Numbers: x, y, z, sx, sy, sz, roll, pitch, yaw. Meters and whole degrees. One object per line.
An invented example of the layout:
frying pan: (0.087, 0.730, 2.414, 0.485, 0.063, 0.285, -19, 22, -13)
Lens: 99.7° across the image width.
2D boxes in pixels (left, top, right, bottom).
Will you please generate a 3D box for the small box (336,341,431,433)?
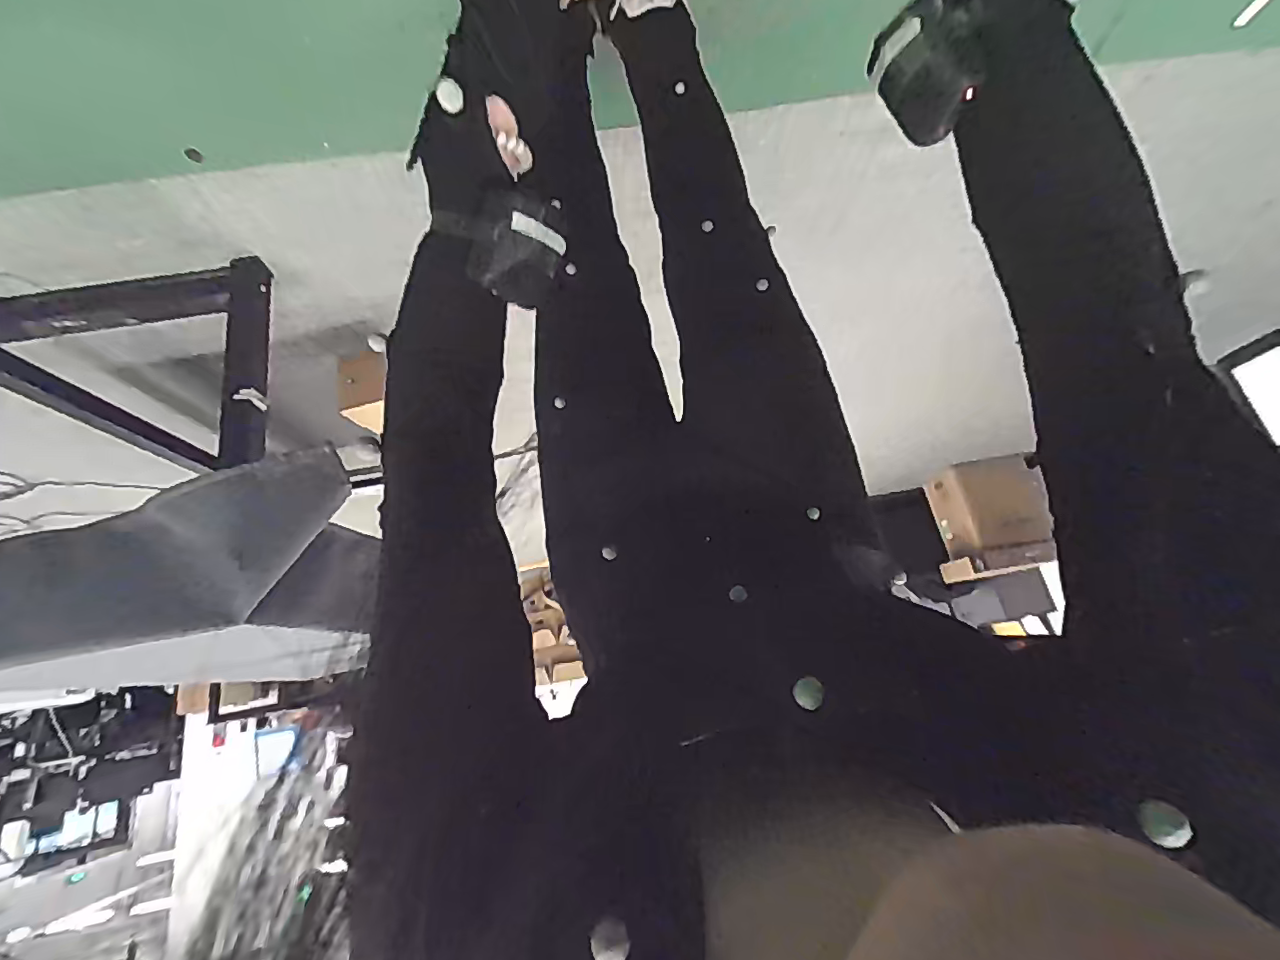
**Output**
small box: (-0.689, -0.248, 1.461, 0.179, 0.176, 0.168, -13, 163, 7)
